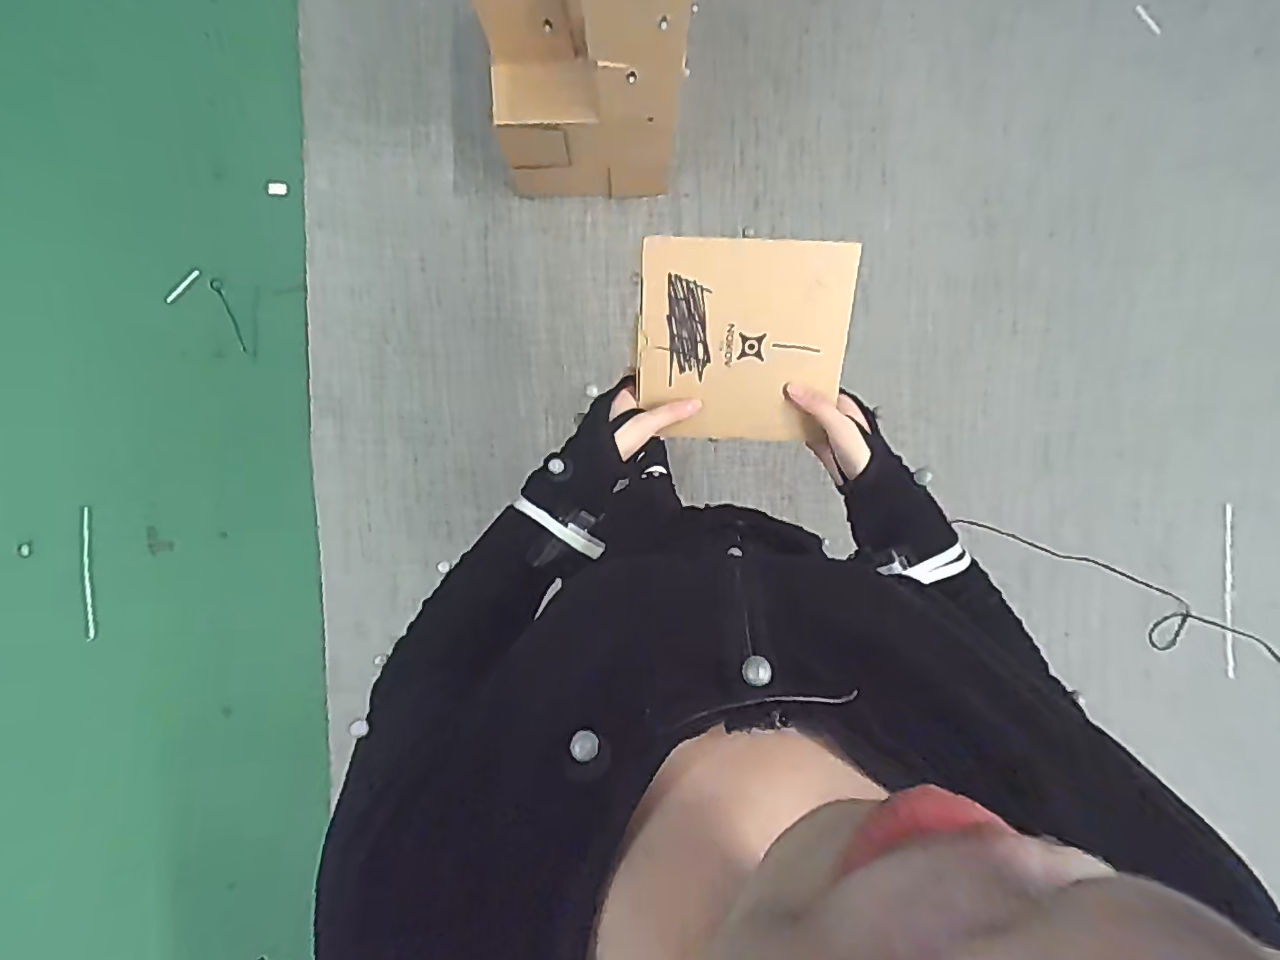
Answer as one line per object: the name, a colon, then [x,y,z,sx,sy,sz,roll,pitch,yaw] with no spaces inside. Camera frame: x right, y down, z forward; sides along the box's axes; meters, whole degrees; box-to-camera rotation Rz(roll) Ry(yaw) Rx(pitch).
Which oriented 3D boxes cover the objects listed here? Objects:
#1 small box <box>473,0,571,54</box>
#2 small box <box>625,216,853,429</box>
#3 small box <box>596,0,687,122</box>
small box: [-0.234,-0.993,1.074,0.179,0.176,0.168,-4,89,1]
small box: [0.080,-0.154,0.527,0.179,0.176,0.168,3,111,0]
small box: [0.002,-0.856,1.071,0.168,0.176,0.179,2,90,0]
